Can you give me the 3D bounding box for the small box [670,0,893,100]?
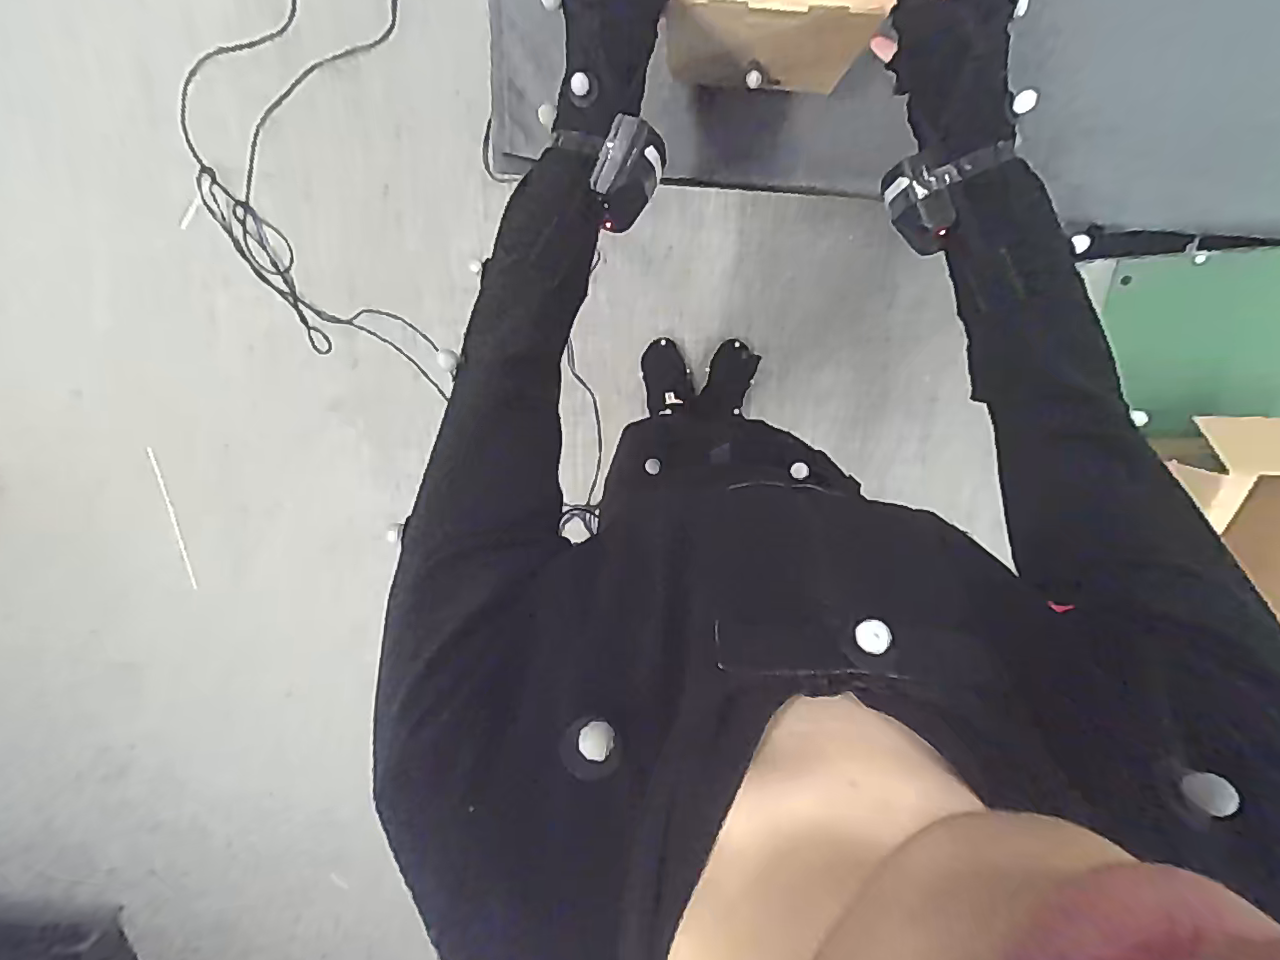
[{"bbox_3d":[0.114,-0.450,0.447,0.168,0.176,0.179,5,110,2],"label":"small box"}]
